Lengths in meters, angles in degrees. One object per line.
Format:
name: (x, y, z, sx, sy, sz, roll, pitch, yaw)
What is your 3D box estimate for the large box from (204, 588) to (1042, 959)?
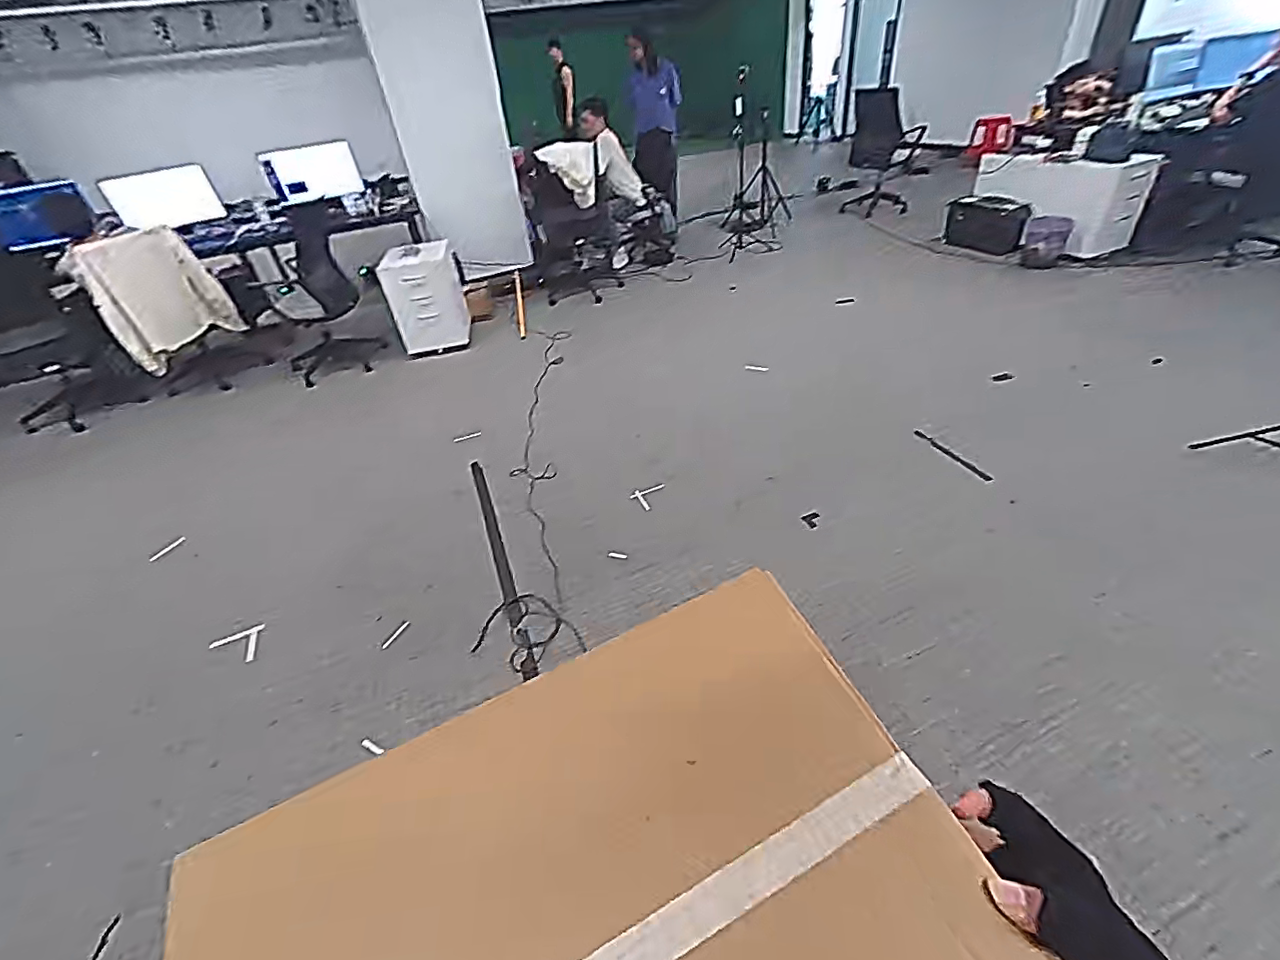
large box: (-0.002, 0.351, 0.391, 0.408, 0.320, 0.320, -23, 51, -13)
